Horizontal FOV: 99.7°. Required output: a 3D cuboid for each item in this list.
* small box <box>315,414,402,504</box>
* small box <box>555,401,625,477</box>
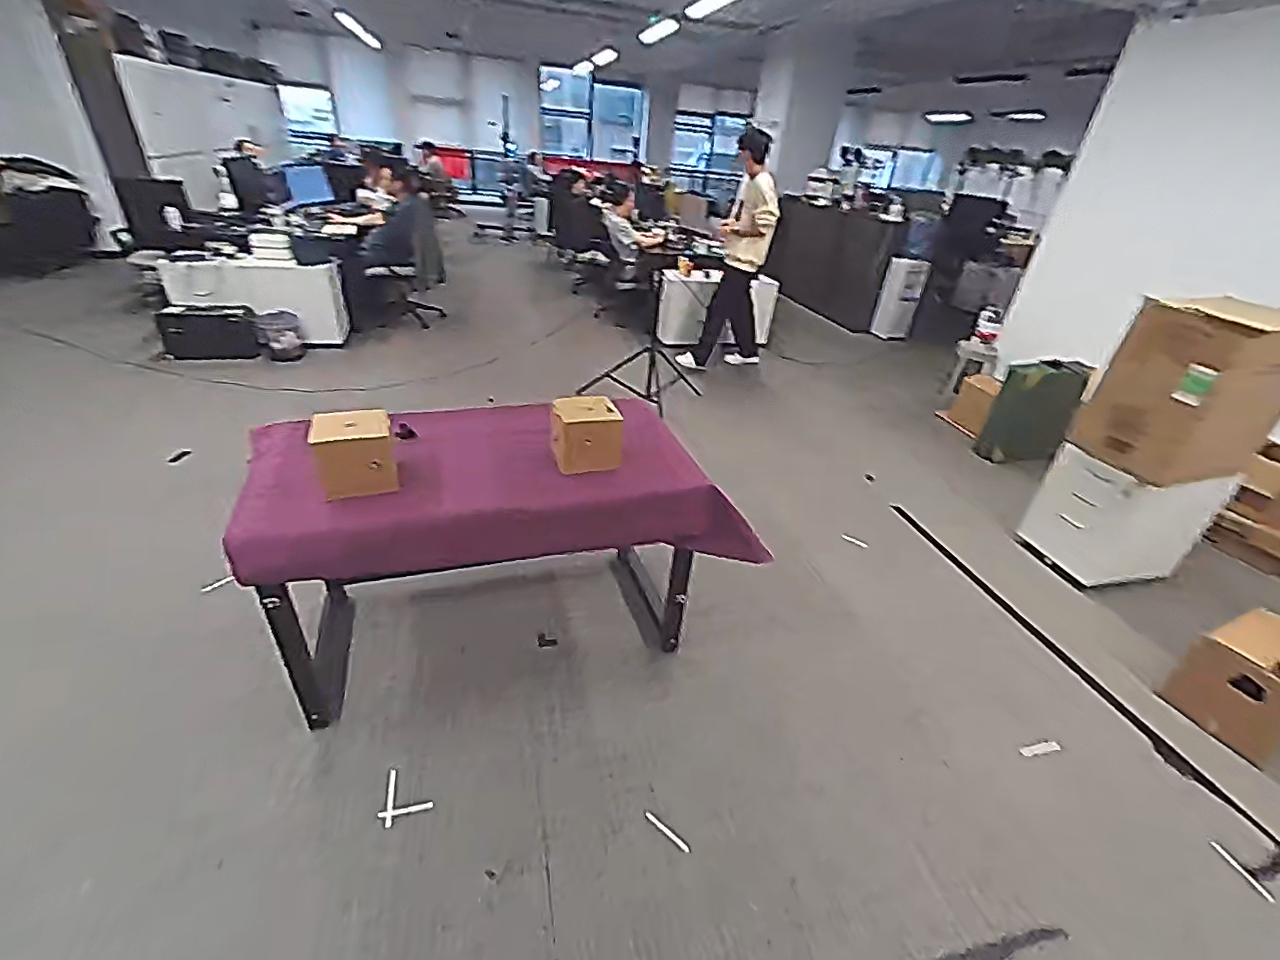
[{"bbox_3d":[-0.724,-0.055,1.410,0.179,0.176,0.168,-9,33,-21],"label":"small box"},{"bbox_3d":[-0.151,-0.121,1.607,0.179,0.176,0.168,-7,33,-18],"label":"small box"}]
